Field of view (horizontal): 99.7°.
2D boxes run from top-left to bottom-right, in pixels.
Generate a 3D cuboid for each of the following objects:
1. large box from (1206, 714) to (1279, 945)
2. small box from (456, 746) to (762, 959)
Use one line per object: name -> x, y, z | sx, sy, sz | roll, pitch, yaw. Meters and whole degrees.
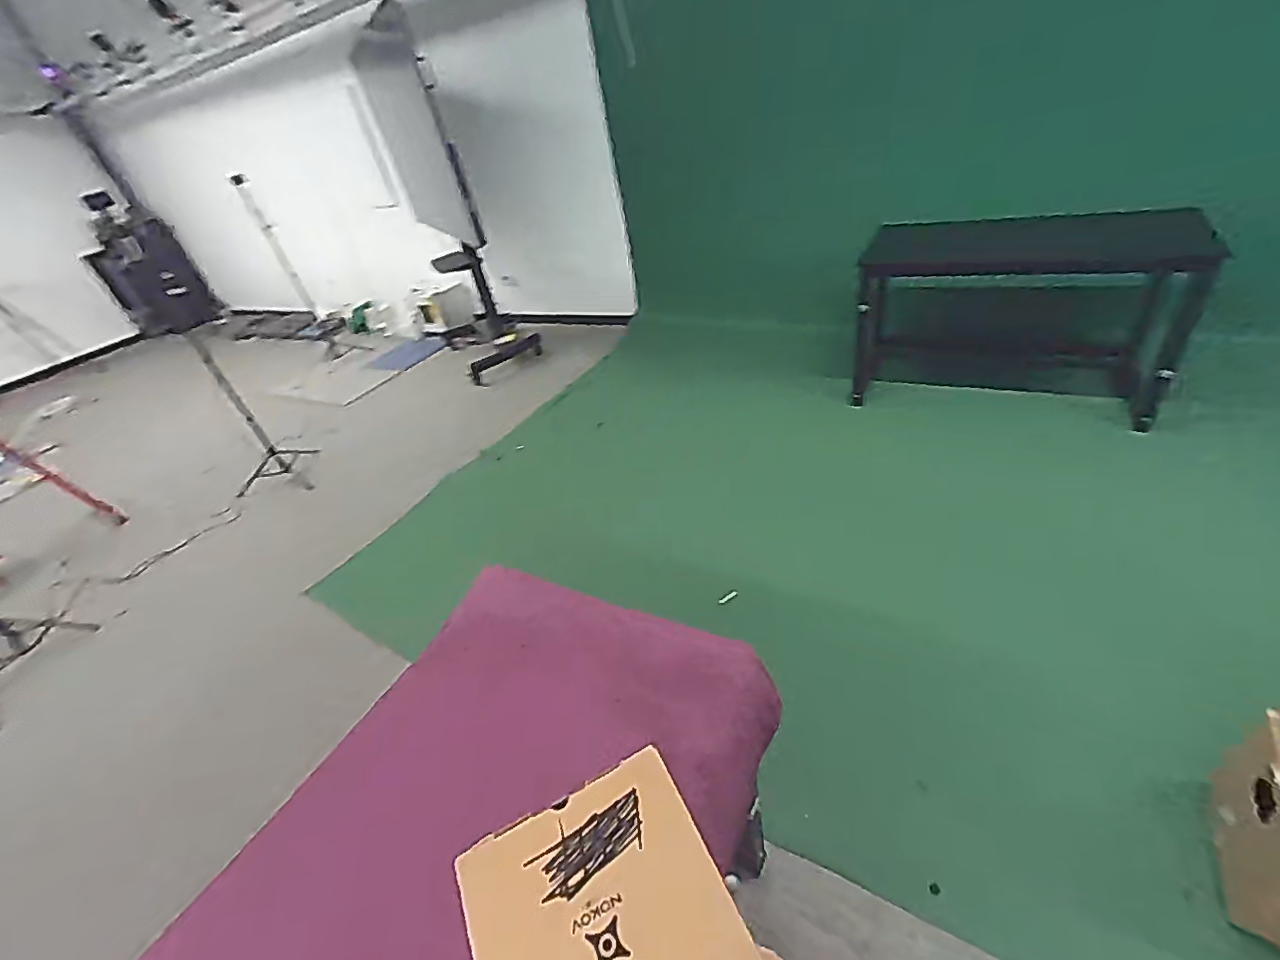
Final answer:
large box -> 1.384, 0.707, 0.978 | 0.408, 0.320, 0.320 | 13, 43, 30
small box -> -0.013, 0.342, 0.396 | 0.168, 0.176, 0.179 | -23, 45, -13
